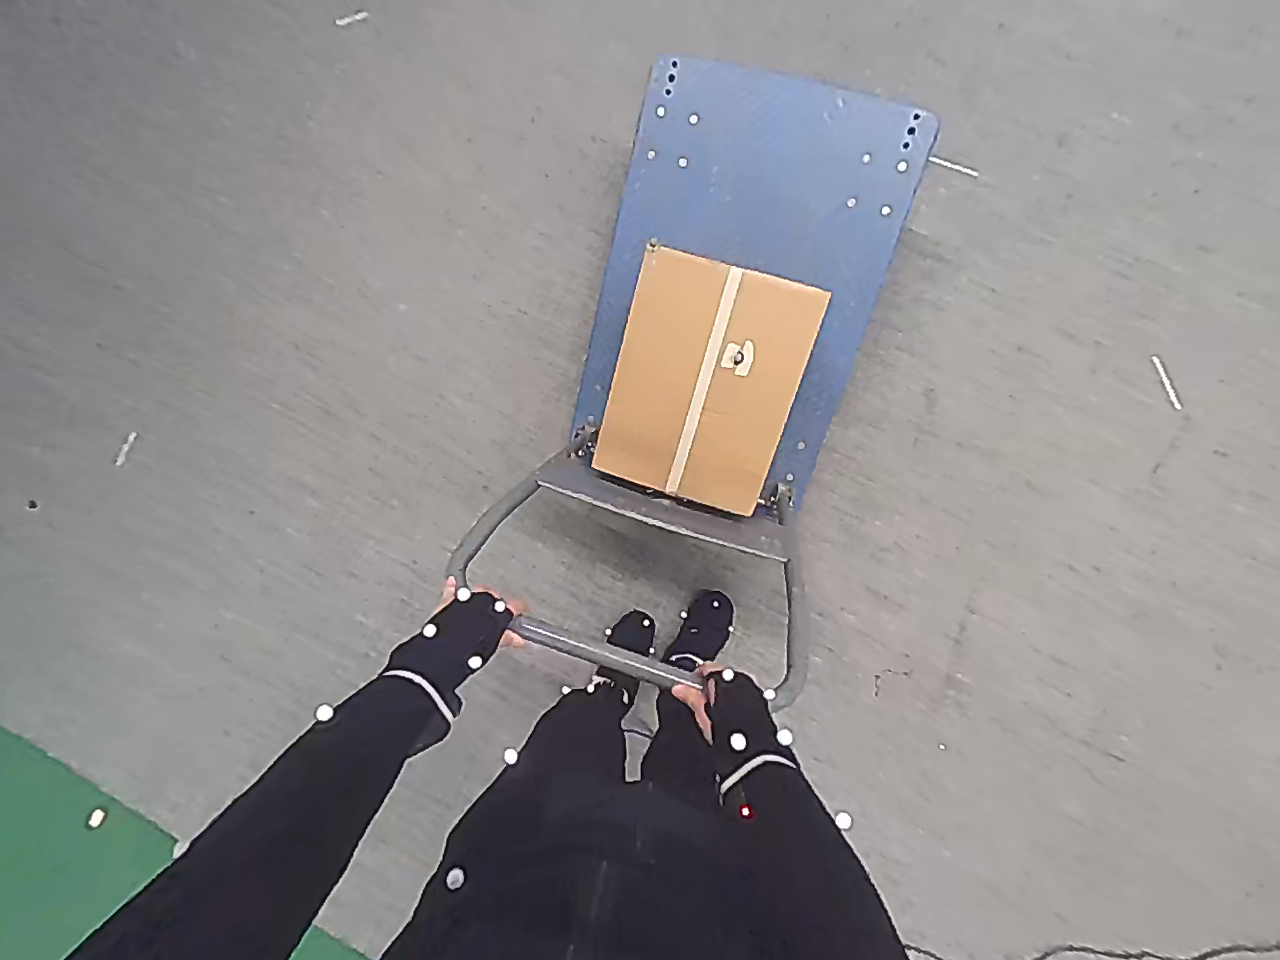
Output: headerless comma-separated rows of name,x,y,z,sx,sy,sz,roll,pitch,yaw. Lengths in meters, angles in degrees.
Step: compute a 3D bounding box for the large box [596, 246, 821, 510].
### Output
large box,0.132,-0.203,1.084,0.320,0.320,0.408,17,107,6
